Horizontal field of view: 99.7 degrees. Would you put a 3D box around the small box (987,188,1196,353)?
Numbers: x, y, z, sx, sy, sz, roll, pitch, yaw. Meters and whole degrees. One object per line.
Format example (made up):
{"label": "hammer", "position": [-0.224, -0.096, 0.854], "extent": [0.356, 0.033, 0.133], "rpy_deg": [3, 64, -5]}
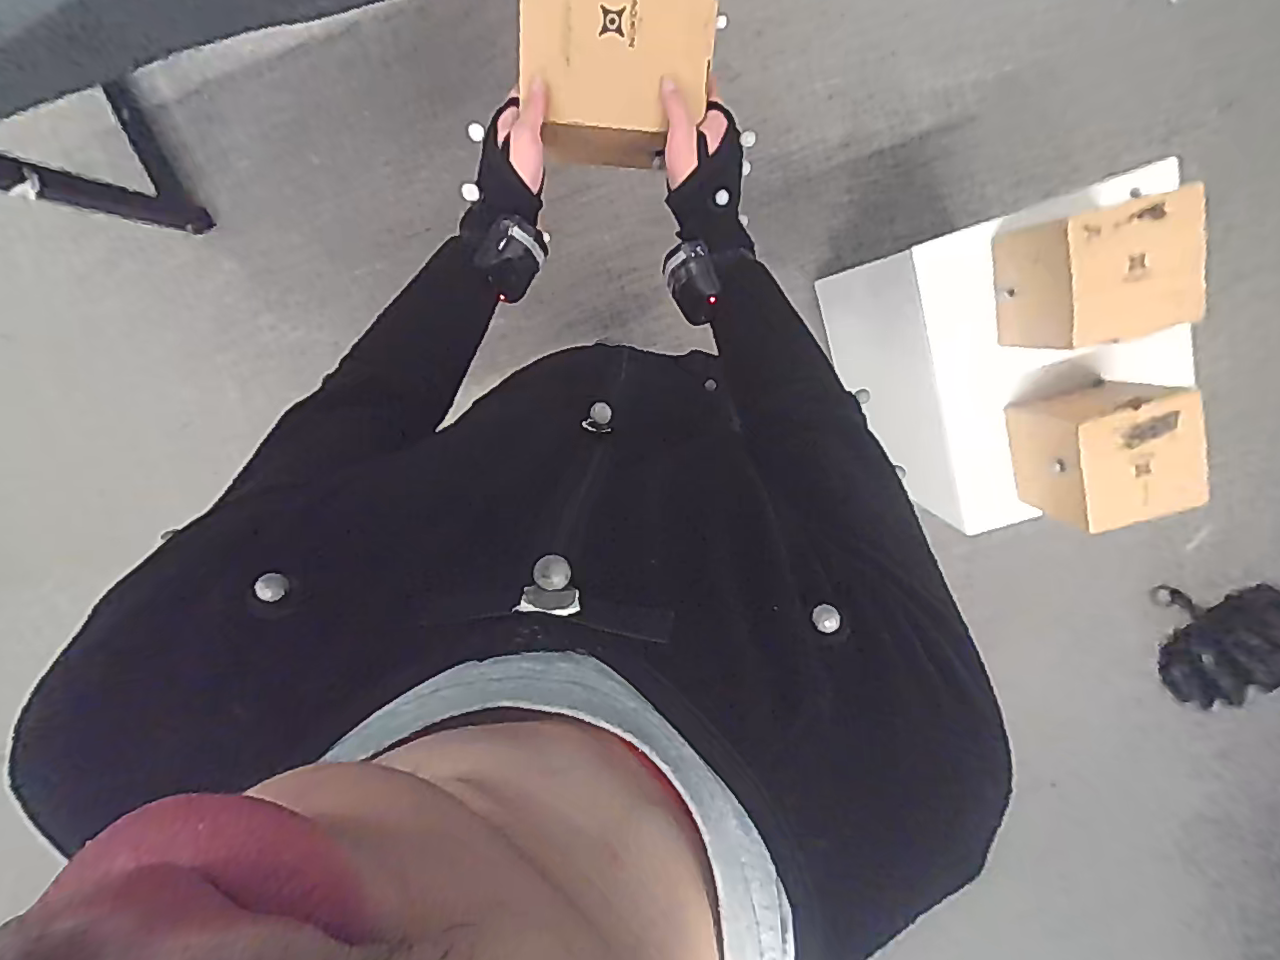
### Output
{"label": "small box", "position": [0.642, -0.293, 0.787], "extent": [0.168, 0.176, 0.179], "rpy_deg": [-14, 105, 2]}

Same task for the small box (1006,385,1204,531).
{"label": "small box", "position": [0.714, -0.045, 0.848], "extent": [0.168, 0.176, 0.179], "rpy_deg": [-18, 104, 4]}

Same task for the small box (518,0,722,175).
{"label": "small box", "position": [-0.017, -0.418, 0.540], "extent": [0.179, 0.176, 0.168], "rpy_deg": [2, 106, 0]}
